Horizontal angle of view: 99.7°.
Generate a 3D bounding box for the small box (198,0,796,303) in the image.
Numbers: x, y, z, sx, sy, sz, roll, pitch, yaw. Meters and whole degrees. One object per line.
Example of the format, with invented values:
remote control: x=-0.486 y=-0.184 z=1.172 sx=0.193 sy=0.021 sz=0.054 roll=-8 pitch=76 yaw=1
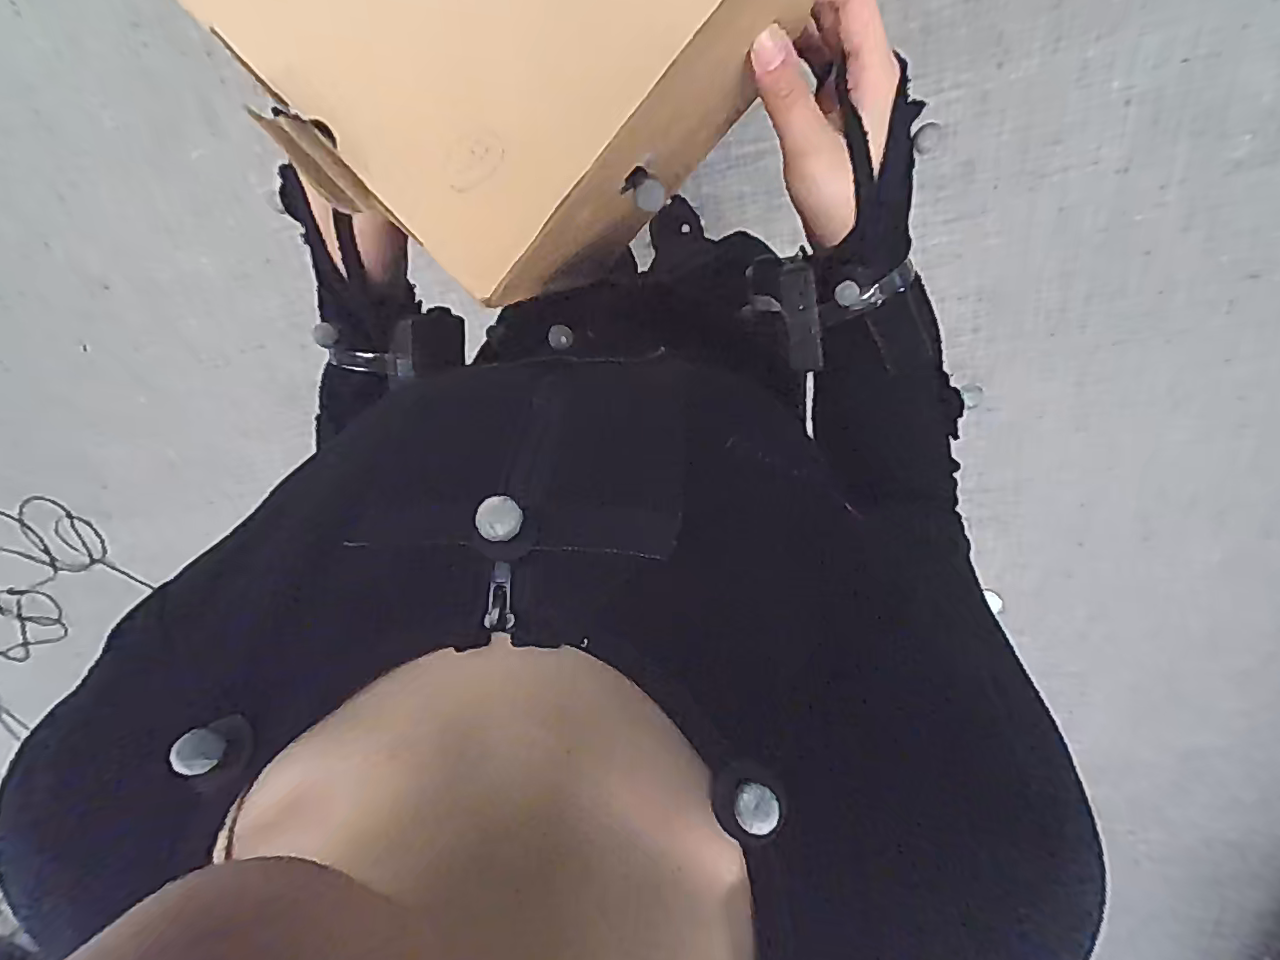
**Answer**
small box: x=-0.040 y=-0.211 z=0.254 sx=0.168 sy=0.176 sz=0.179 roll=45 pitch=115 yaw=-9
